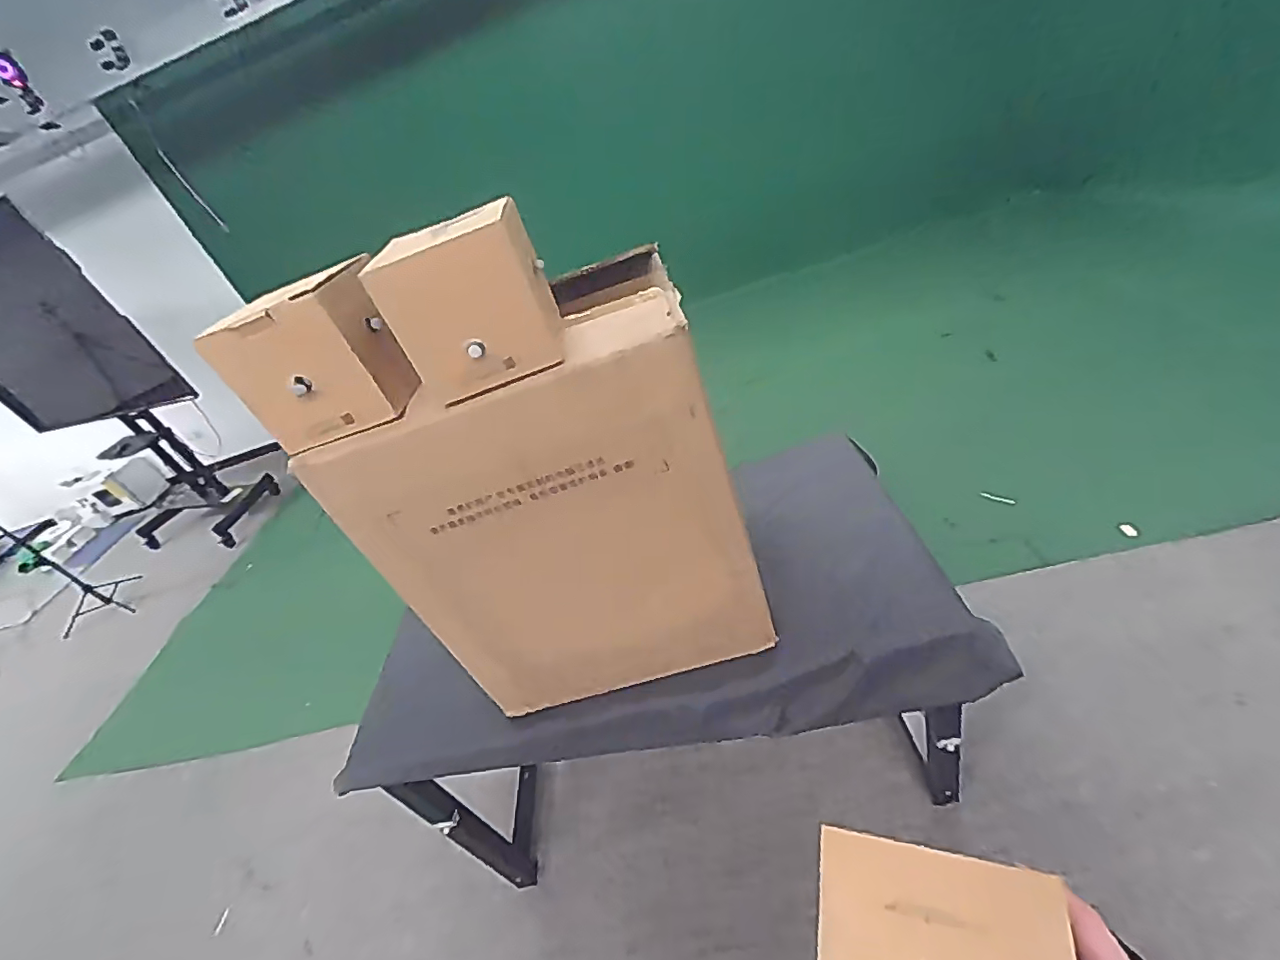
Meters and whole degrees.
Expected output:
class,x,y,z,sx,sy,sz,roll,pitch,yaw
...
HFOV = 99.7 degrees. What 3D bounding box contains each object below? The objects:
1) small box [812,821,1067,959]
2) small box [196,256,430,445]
class,x,y,z,sx,sy,sz,roll,pitch,yaw
small box,0.230,0.402,0.435,0.168,0.176,0.179,-1,53,21
small box,-0.406,-0.163,0.712,0.168,0.176,0.179,-17,35,8
